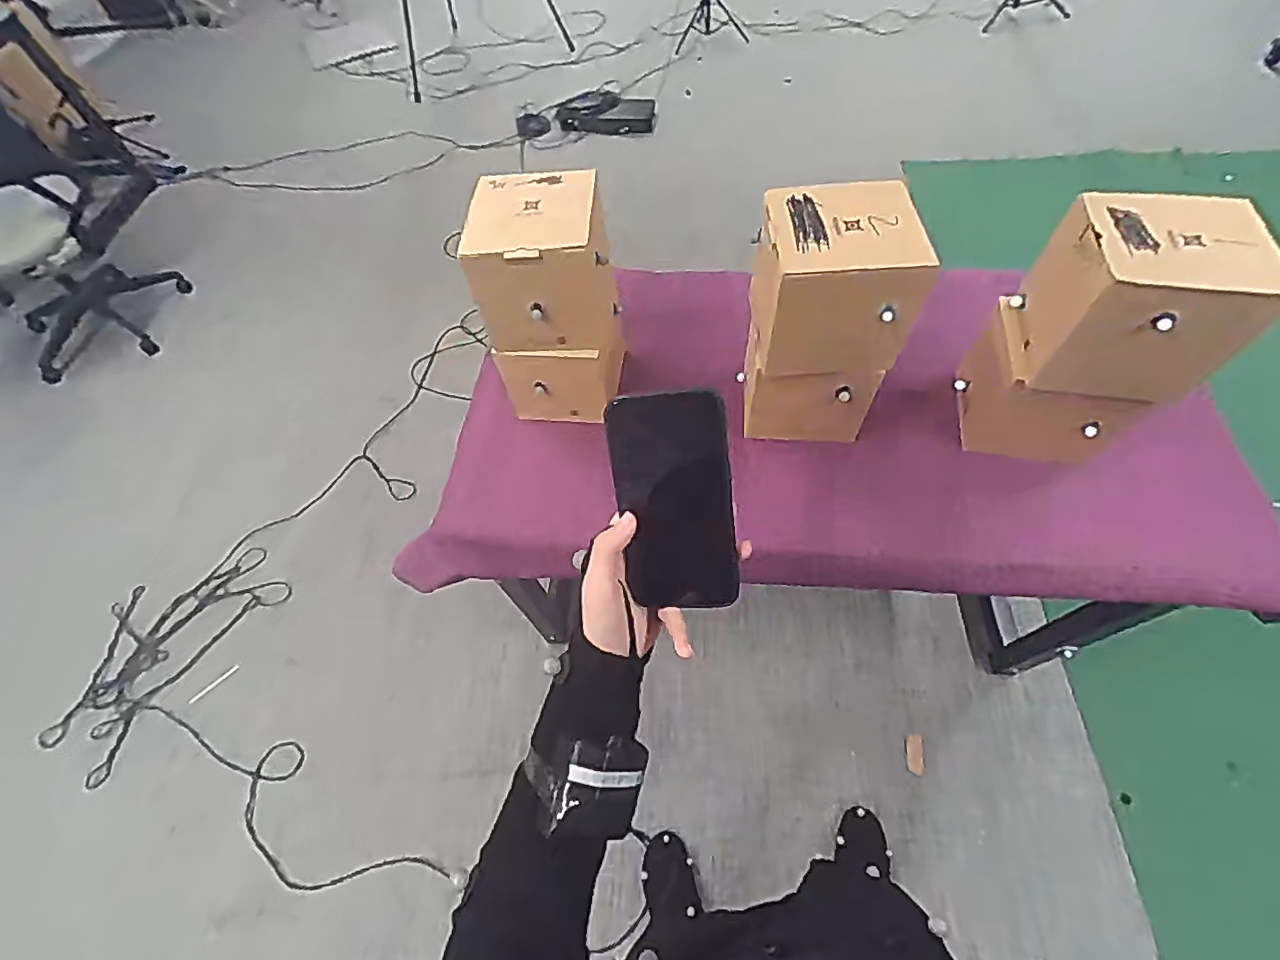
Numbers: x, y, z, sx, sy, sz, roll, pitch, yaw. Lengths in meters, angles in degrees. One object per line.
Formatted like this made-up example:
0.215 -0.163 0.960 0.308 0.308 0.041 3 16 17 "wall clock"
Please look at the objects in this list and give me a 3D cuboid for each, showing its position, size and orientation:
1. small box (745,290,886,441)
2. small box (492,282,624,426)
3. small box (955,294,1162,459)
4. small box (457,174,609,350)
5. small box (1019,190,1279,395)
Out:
0.261 -0.174 0.845 0.179 0.176 0.168 2 58 7 "small box"
-0.124 -0.207 0.905 0.168 0.176 0.179 3 58 7 "small box"
0.596 -0.147 0.797 0.179 0.176 0.168 8 59 11 "small box"
-0.137 -0.301 0.771 0.168 0.176 0.179 -1 59 4 "small box"
0.590 -0.220 0.649 0.179 0.176 0.168 8 59 10 "small box"
